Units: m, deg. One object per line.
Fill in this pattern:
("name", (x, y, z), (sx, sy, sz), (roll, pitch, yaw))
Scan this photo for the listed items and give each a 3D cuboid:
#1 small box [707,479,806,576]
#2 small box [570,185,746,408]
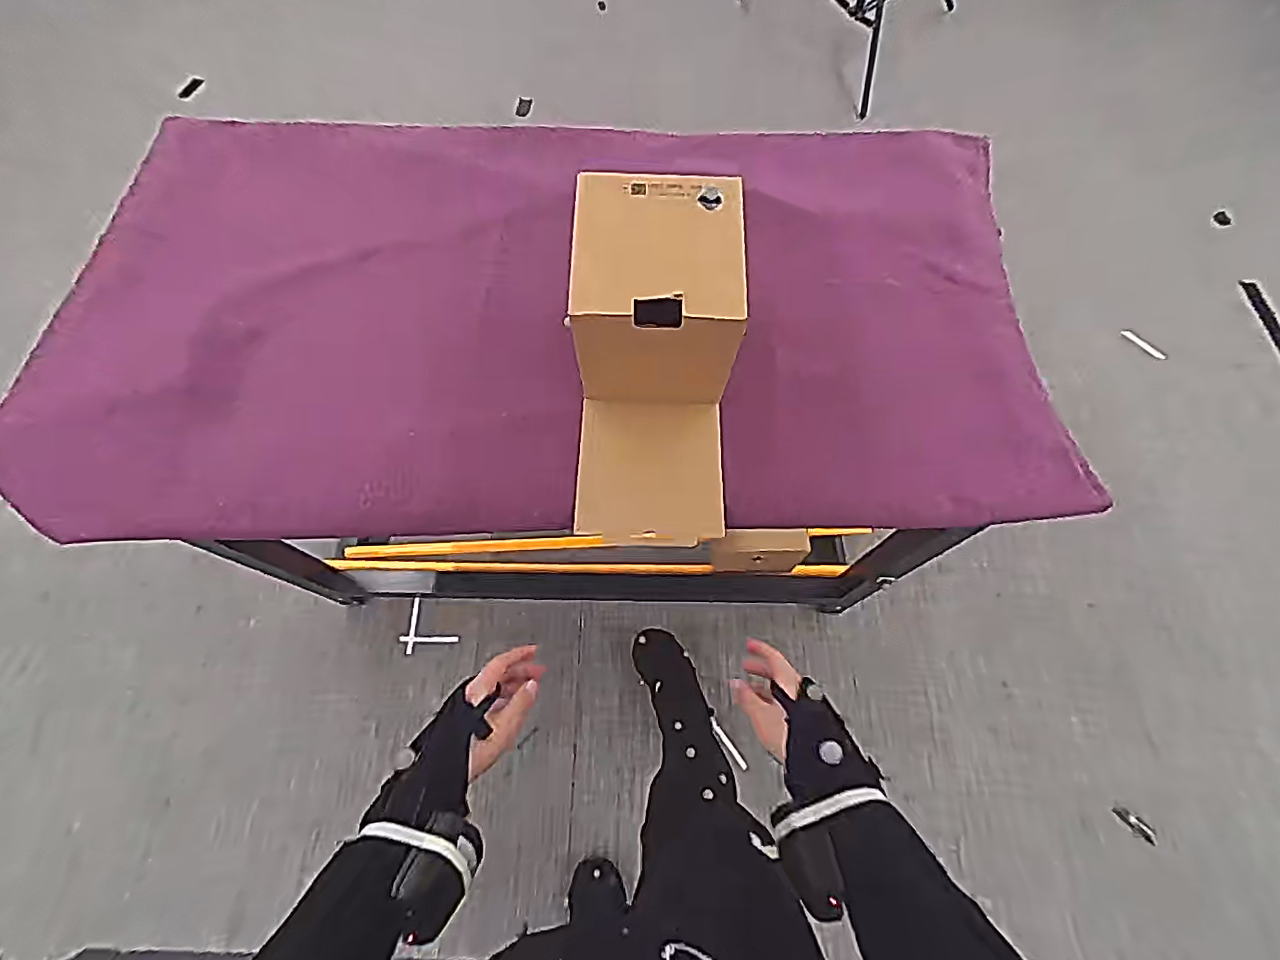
("small box", (0.237, 0.105, 1.152), (0.179, 0.176, 0.168), (-1, 66, 0))
("small box", (0.015, -0.193, 0.594), (0.168, 0.179, 0.176), (2, 73, -1))
